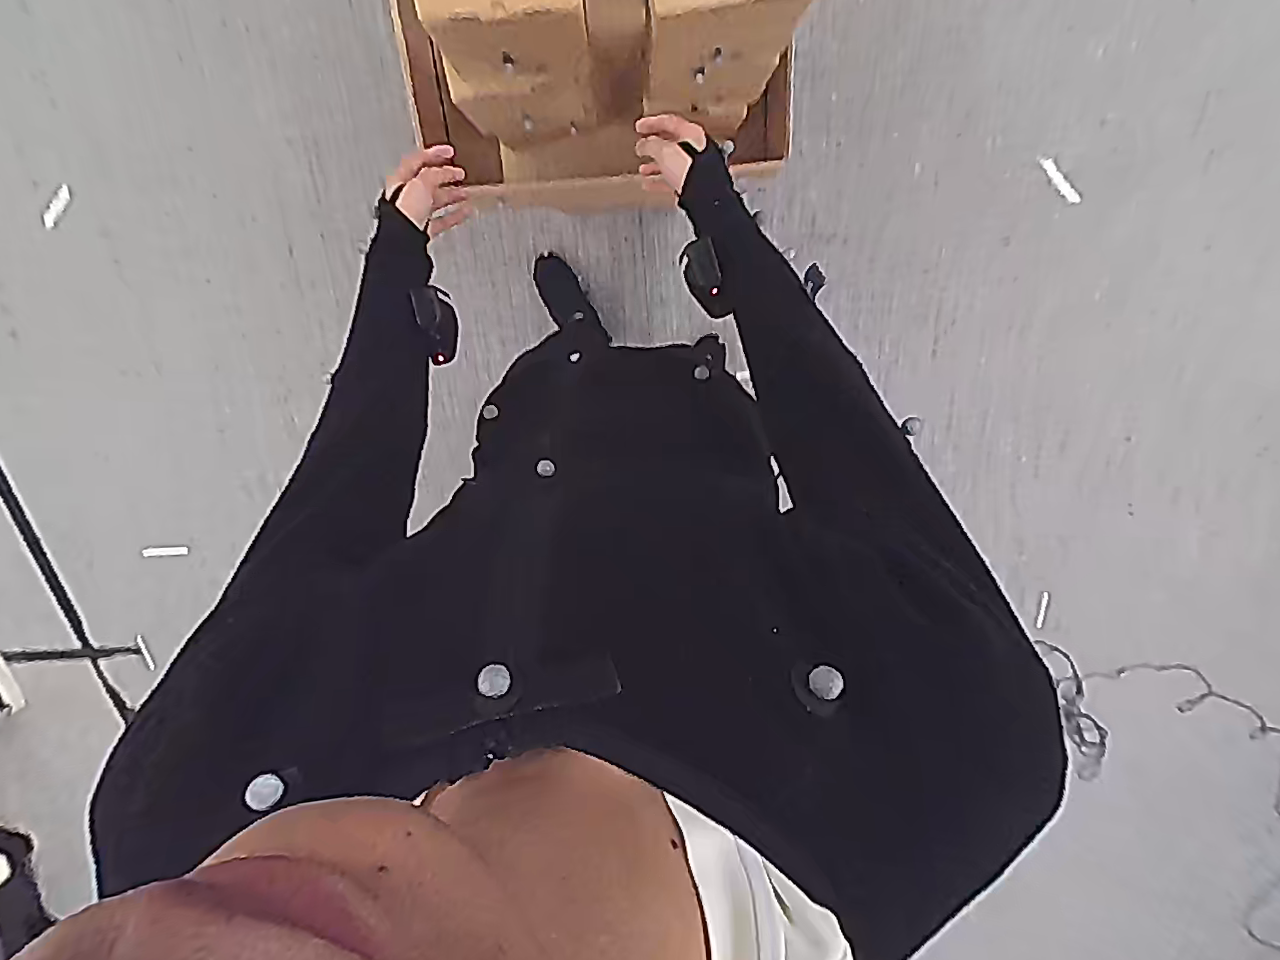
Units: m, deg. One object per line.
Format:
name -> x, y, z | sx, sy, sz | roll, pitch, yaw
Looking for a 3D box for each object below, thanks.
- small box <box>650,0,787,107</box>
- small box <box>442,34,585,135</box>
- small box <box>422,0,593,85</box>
small box -> 0.098, -0.634, 0.732 | 0.168, 0.176, 0.179 | -1, 109, 1
small box -> -0.173, -0.608, 0.747 | 0.168, 0.176, 0.179 | -9, 110, 2
small box -> -0.145, -0.569, 0.589 | 0.168, 0.176, 0.179 | -6, 110, 0
